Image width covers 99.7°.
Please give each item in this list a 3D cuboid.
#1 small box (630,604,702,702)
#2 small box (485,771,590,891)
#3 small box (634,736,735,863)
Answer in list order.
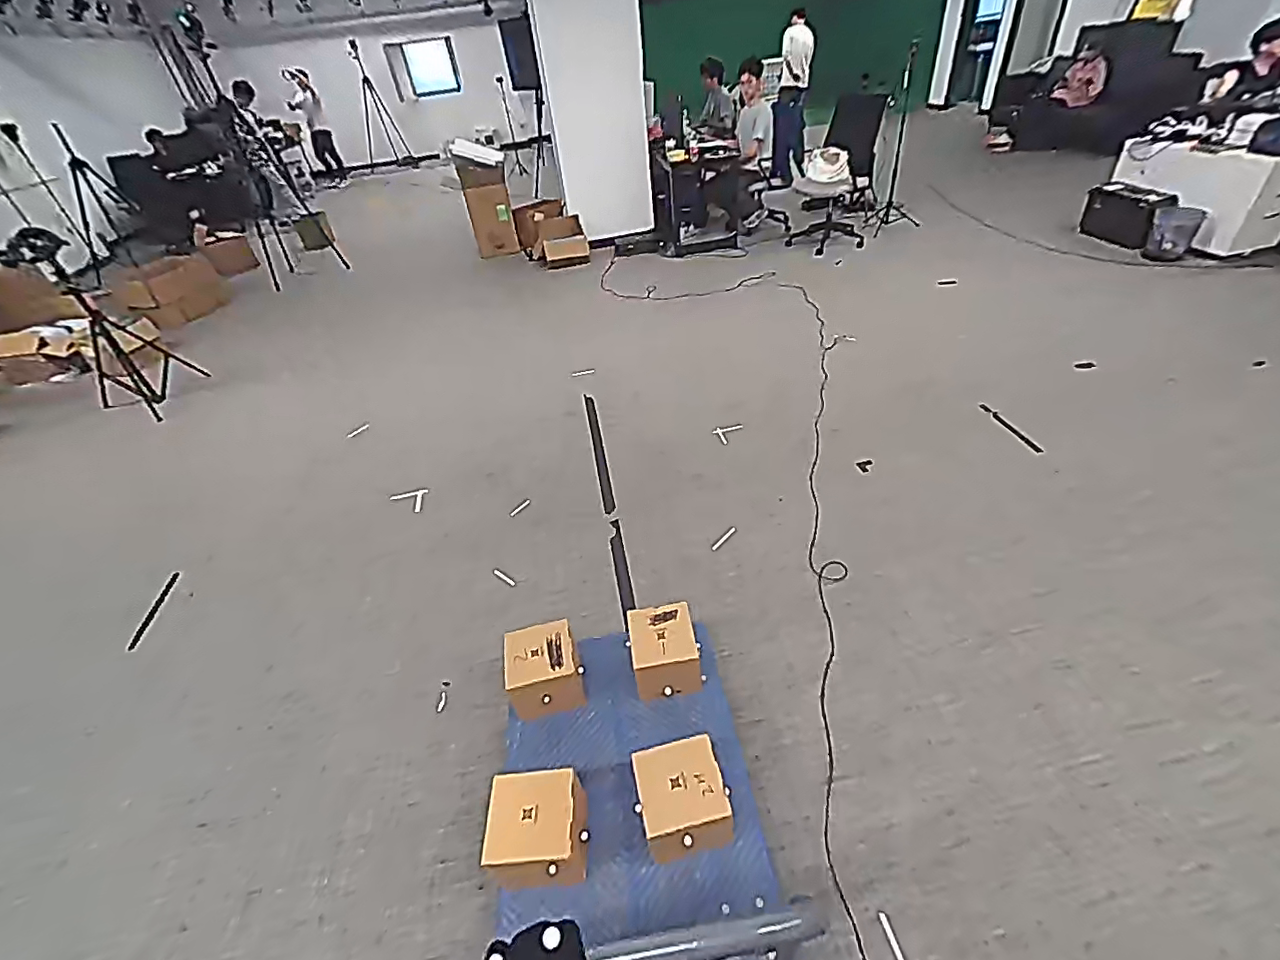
[{"bbox_3d":[0.069,0.459,1.436,0.168,0.176,0.179,-10,40,-1],"label":"small box"},{"bbox_3d":[-0.208,0.744,1.143,0.179,0.176,0.168,-6,39,1],"label":"small box"},{"bbox_3d":[0.096,0.685,1.156,0.179,0.176,0.168,-13,40,-5],"label":"small box"}]
